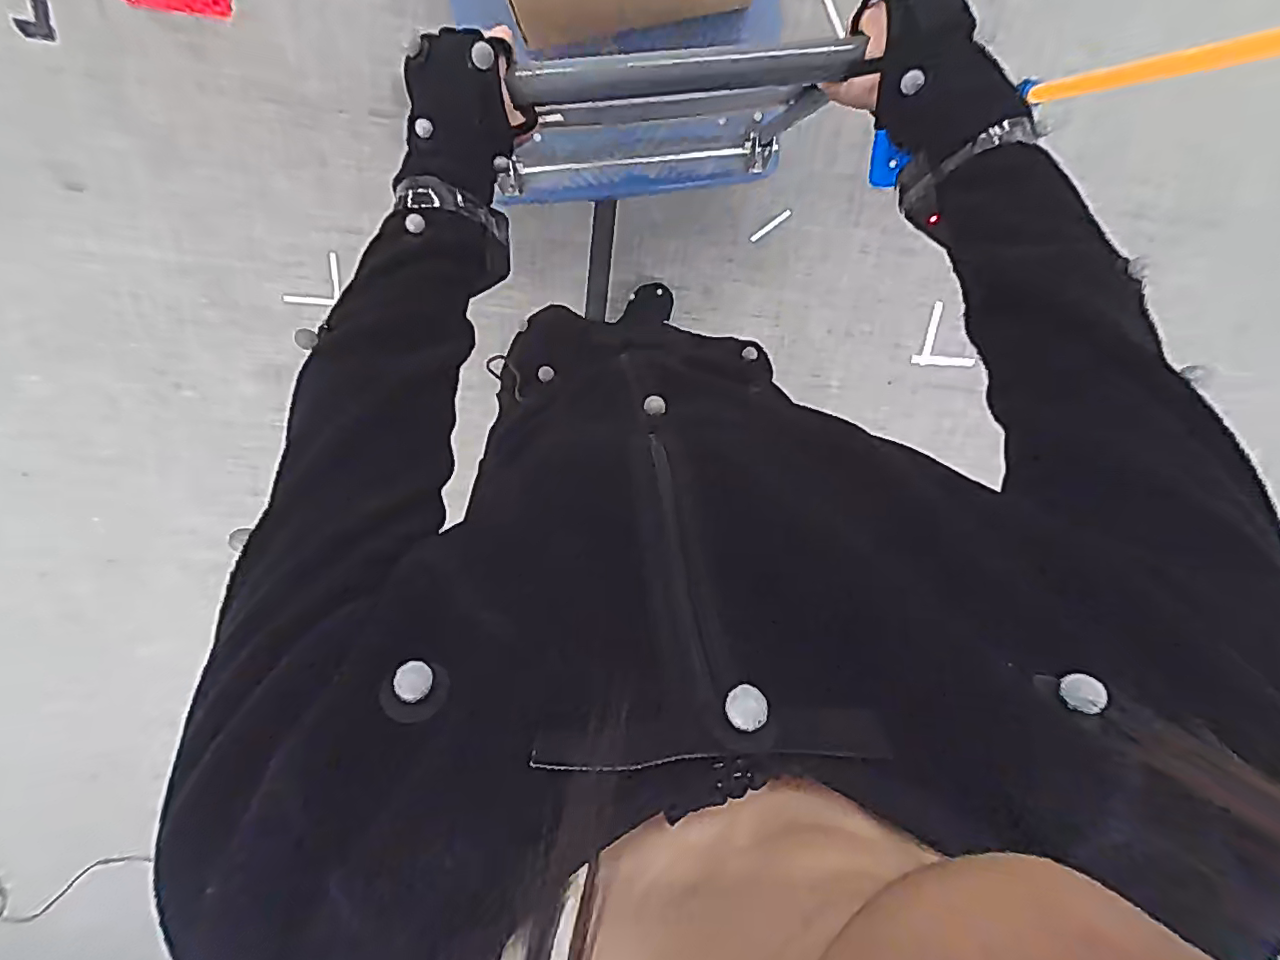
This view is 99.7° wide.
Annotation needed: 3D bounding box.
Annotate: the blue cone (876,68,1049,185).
[{"bbox_3d":[0.642,-0.713,1.063,0.193,0.380,0.192,1,111,-5],"label":"blue cone"}]
